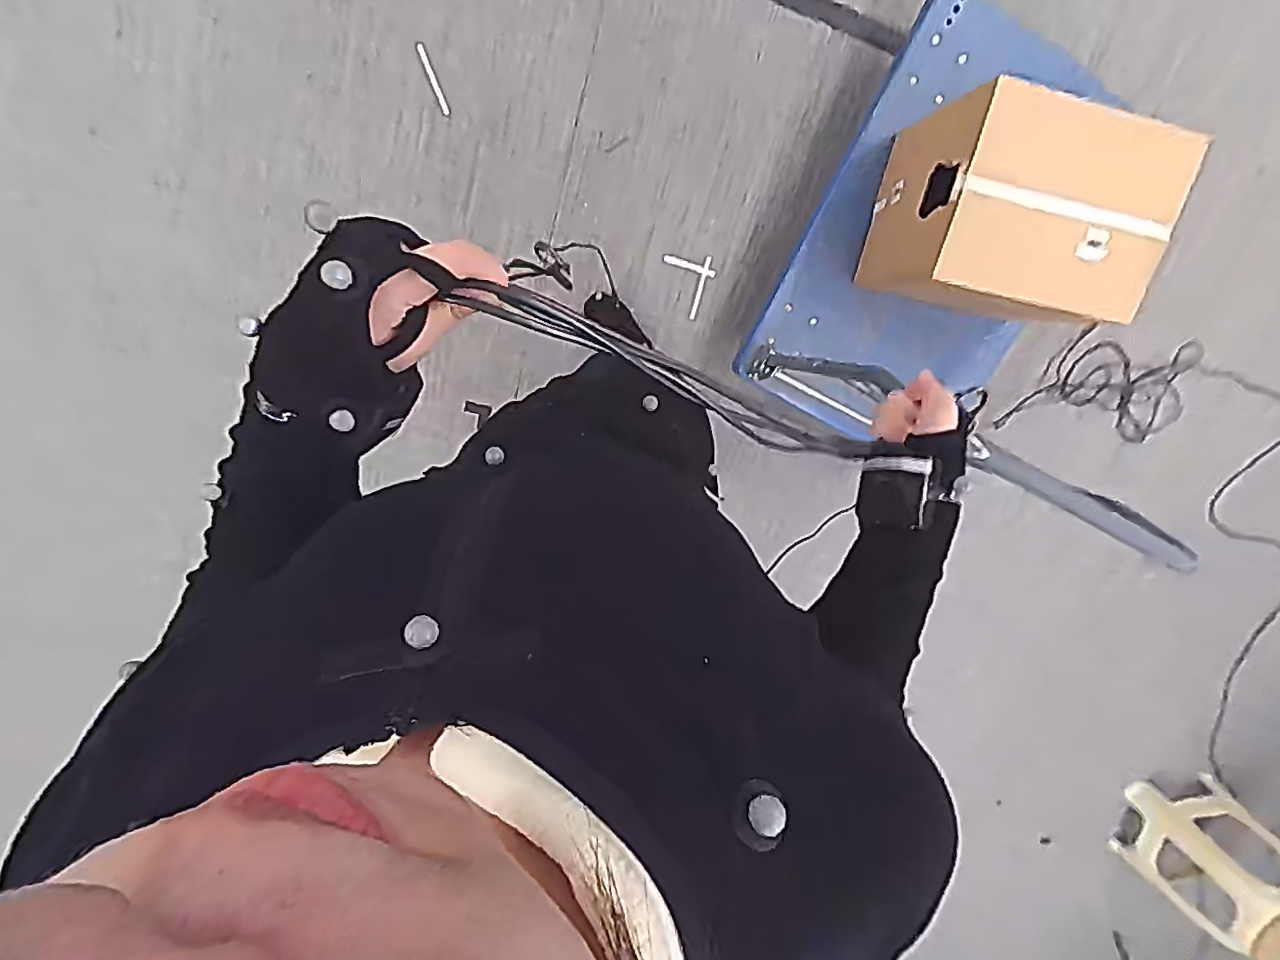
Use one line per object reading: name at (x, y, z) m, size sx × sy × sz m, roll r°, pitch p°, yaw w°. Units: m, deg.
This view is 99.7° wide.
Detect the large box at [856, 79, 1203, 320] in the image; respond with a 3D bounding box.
large box at (0.712, -0.509, 1.063) m, size 0.408 × 0.320 × 0.320 m, roll 9°, pitch 108°, yaw -8°
